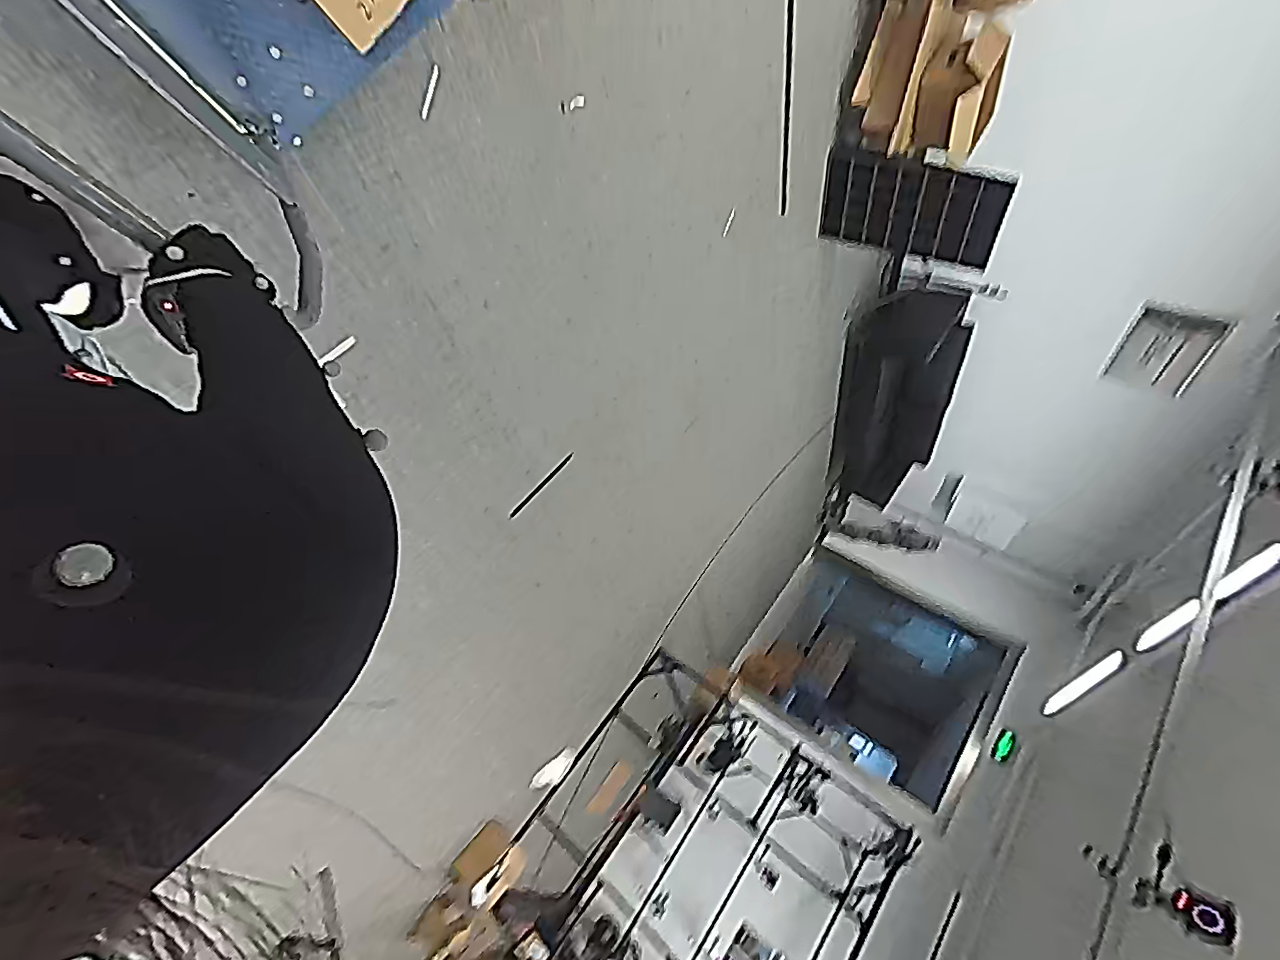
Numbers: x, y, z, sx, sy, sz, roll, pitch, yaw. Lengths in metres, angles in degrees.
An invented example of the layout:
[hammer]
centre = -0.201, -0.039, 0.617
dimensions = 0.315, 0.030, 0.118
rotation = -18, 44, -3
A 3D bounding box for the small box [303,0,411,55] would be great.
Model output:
[small box]
centre = -0.496, -0.851, 0.880
dimensions = 0.168, 0.176, 0.179
rotation = -44, 148, 6
